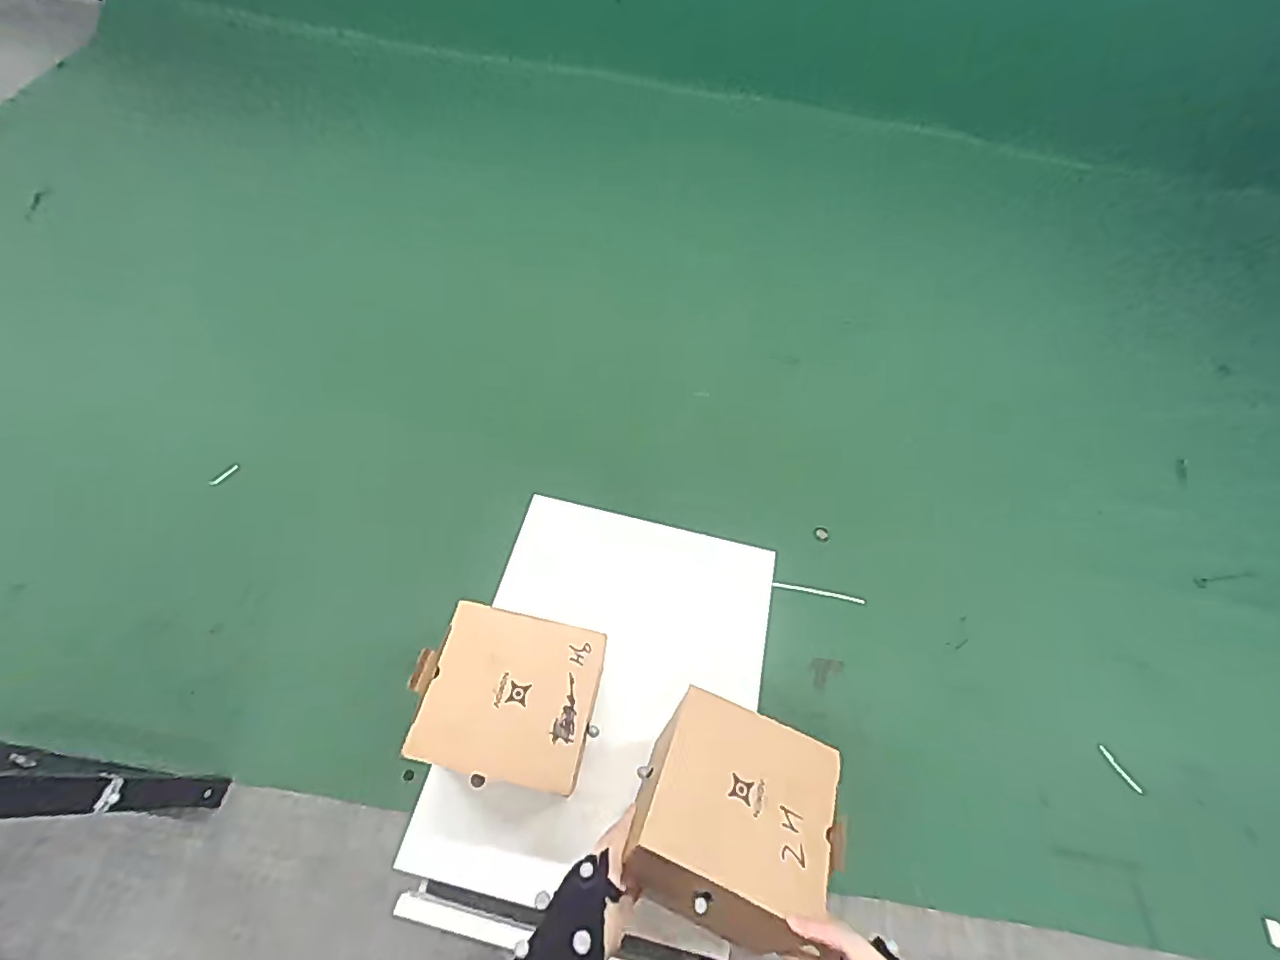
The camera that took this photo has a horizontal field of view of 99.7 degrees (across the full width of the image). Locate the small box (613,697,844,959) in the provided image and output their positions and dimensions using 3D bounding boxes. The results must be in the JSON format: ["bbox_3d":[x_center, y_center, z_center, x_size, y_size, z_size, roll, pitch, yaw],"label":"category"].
[{"bbox_3d":[0.087,0.367,0.563,0.179,0.176,0.168,23,45,8],"label":"small box"}]
